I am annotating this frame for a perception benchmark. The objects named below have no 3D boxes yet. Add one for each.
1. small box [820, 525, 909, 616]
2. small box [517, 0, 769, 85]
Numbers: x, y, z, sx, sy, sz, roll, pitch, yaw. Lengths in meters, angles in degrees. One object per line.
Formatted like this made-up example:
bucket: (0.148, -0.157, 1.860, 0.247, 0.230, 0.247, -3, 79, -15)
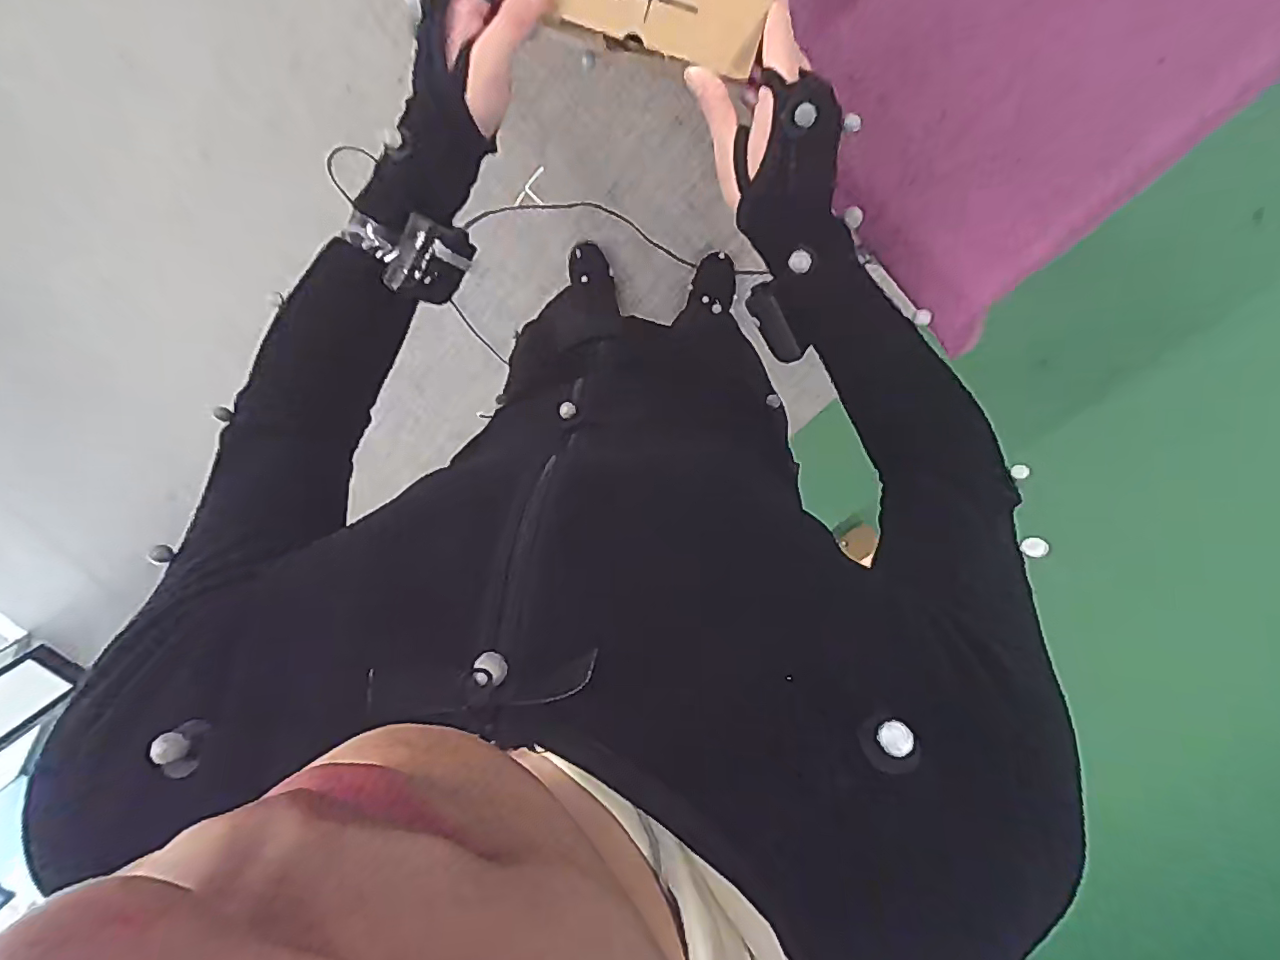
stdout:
small box: (0.677, 0.270, 1.648, 0.179, 0.176, 0.168, 43, 113, -11)
small box: (0.024, -0.406, 0.381, 0.168, 0.176, 0.179, 14, 123, -5)
